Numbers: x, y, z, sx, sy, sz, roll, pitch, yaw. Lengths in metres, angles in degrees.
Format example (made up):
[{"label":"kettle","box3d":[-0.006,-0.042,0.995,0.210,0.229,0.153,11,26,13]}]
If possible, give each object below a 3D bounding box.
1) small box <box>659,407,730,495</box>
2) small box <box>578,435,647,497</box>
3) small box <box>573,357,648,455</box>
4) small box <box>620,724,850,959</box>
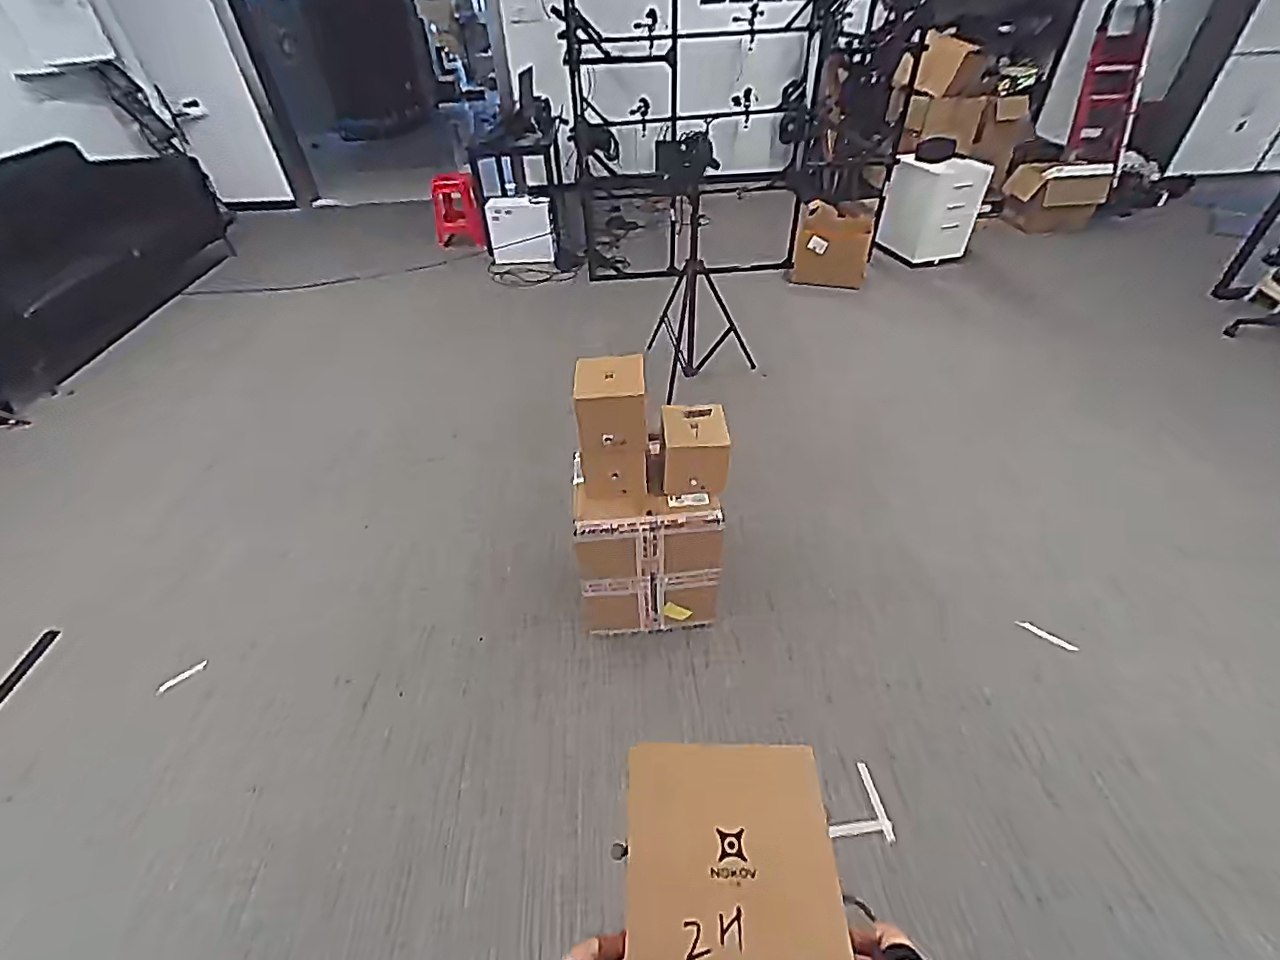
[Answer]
[{"label":"small box","box3d":[0.139,-0.077,1.450,0.168,0.176,0.179,-2,43,-2]},{"label":"small box","box3d":[-0.070,-0.067,1.447,0.168,0.176,0.179,-4,44,1]},{"label":"small box","box3d":[-0.069,-0.181,1.330,0.168,0.176,0.179,-5,44,1]},{"label":"small box","box3d":[0.069,0.345,0.489,0.168,0.176,0.179,1,45,1]}]
